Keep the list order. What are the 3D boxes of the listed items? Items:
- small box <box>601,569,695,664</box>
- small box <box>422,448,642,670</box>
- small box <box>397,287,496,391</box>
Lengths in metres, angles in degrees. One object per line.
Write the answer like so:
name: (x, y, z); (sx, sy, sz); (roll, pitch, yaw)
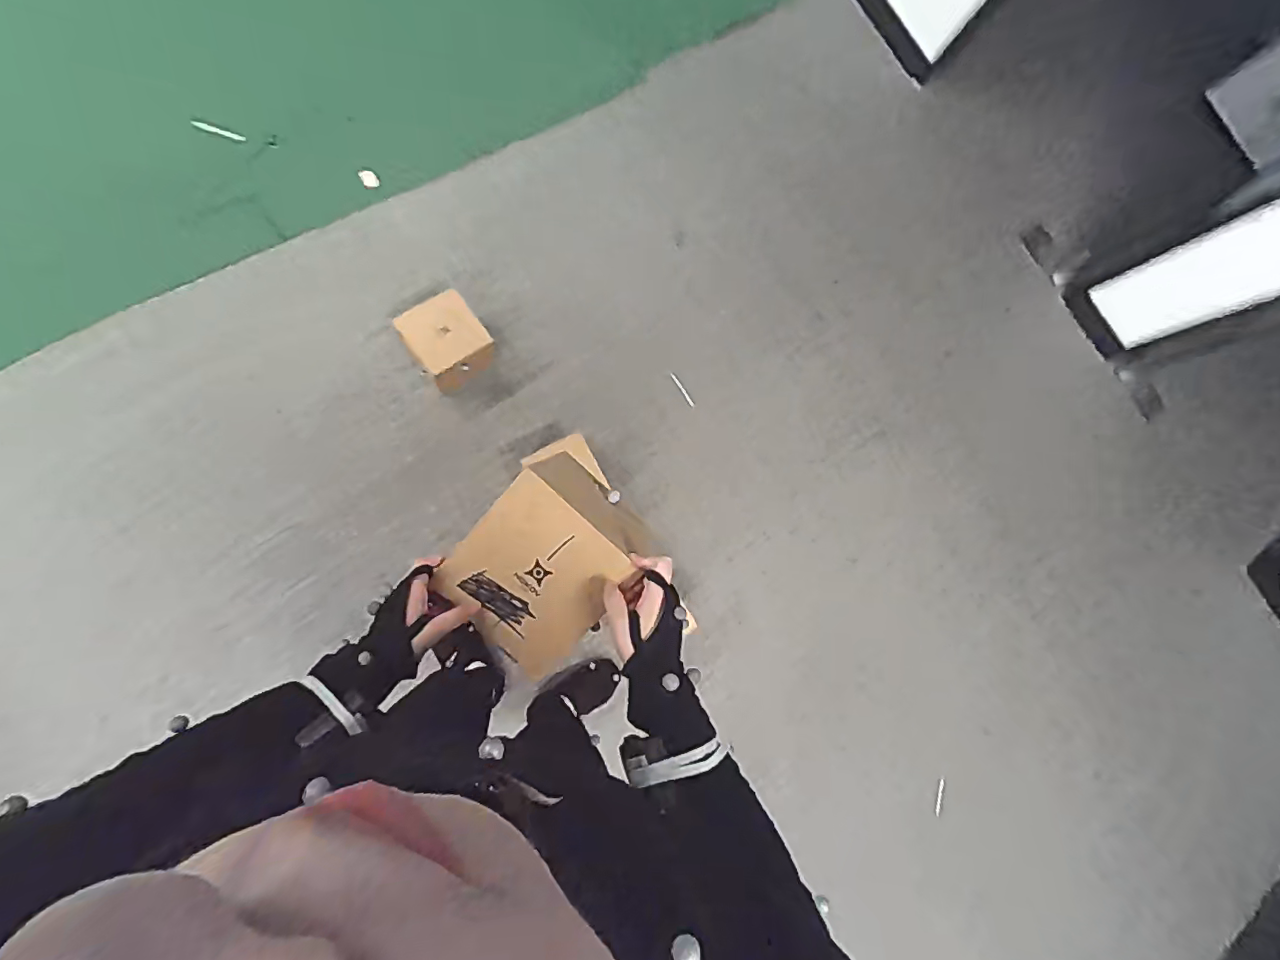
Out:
small box: (0.011, 0.345, 1.397); (0.179, 0.176, 0.168); (-31, 90, -14)
small box: (-0.112, 0.080, 0.646); (0.168, 0.176, 0.179); (42, 100, -2)
small box: (-0.485, -0.354, 1.388); (0.179, 0.176, 0.168); (-35, 91, -15)
